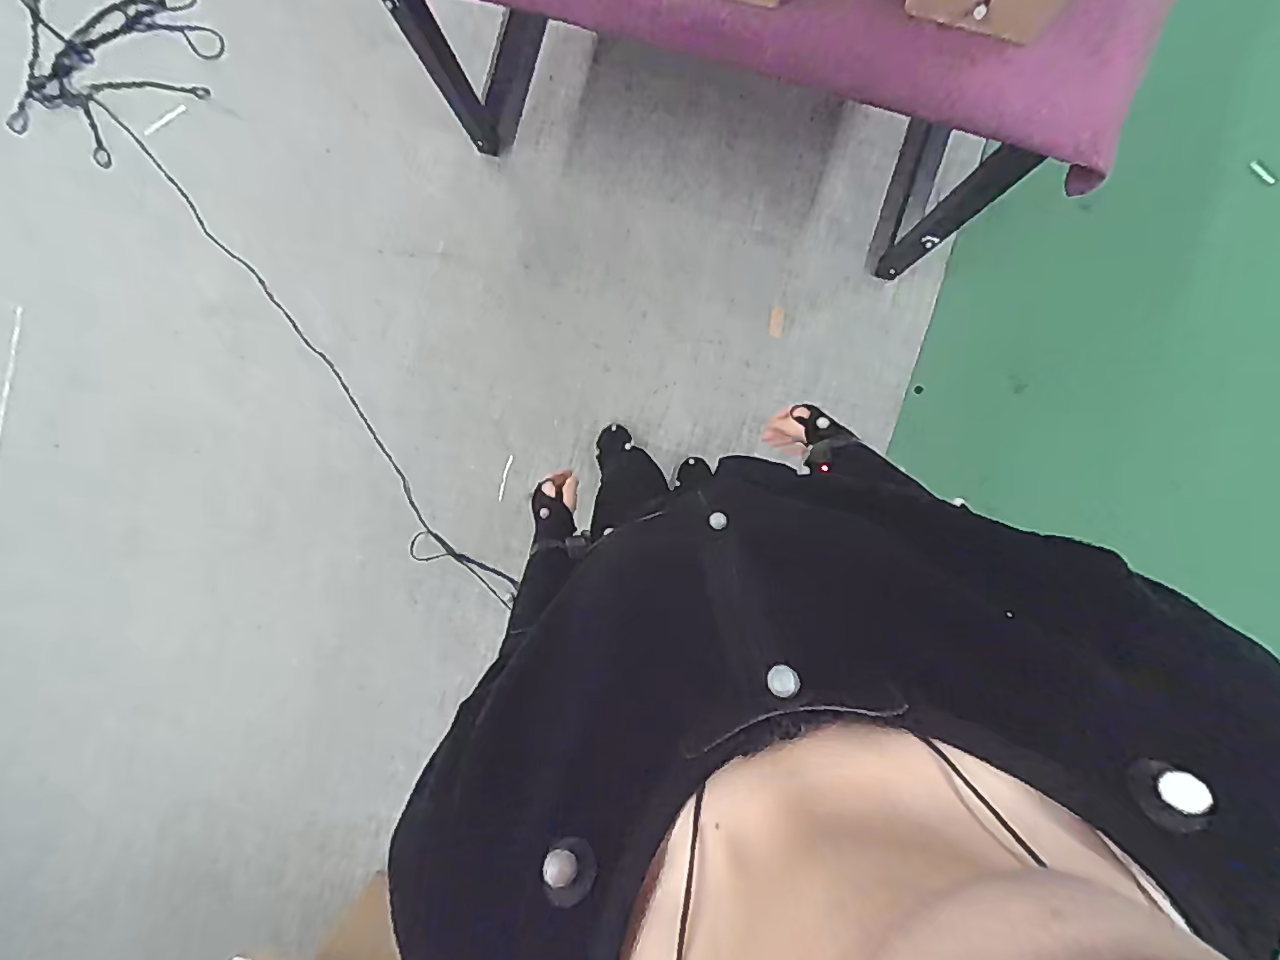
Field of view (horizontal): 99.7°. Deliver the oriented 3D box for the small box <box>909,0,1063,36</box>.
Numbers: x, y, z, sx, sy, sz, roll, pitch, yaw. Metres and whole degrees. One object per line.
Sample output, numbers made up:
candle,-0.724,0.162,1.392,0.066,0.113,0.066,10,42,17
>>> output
small box,0.454,-0.675,0.632,0.179,0.176,0.168,17,92,3
